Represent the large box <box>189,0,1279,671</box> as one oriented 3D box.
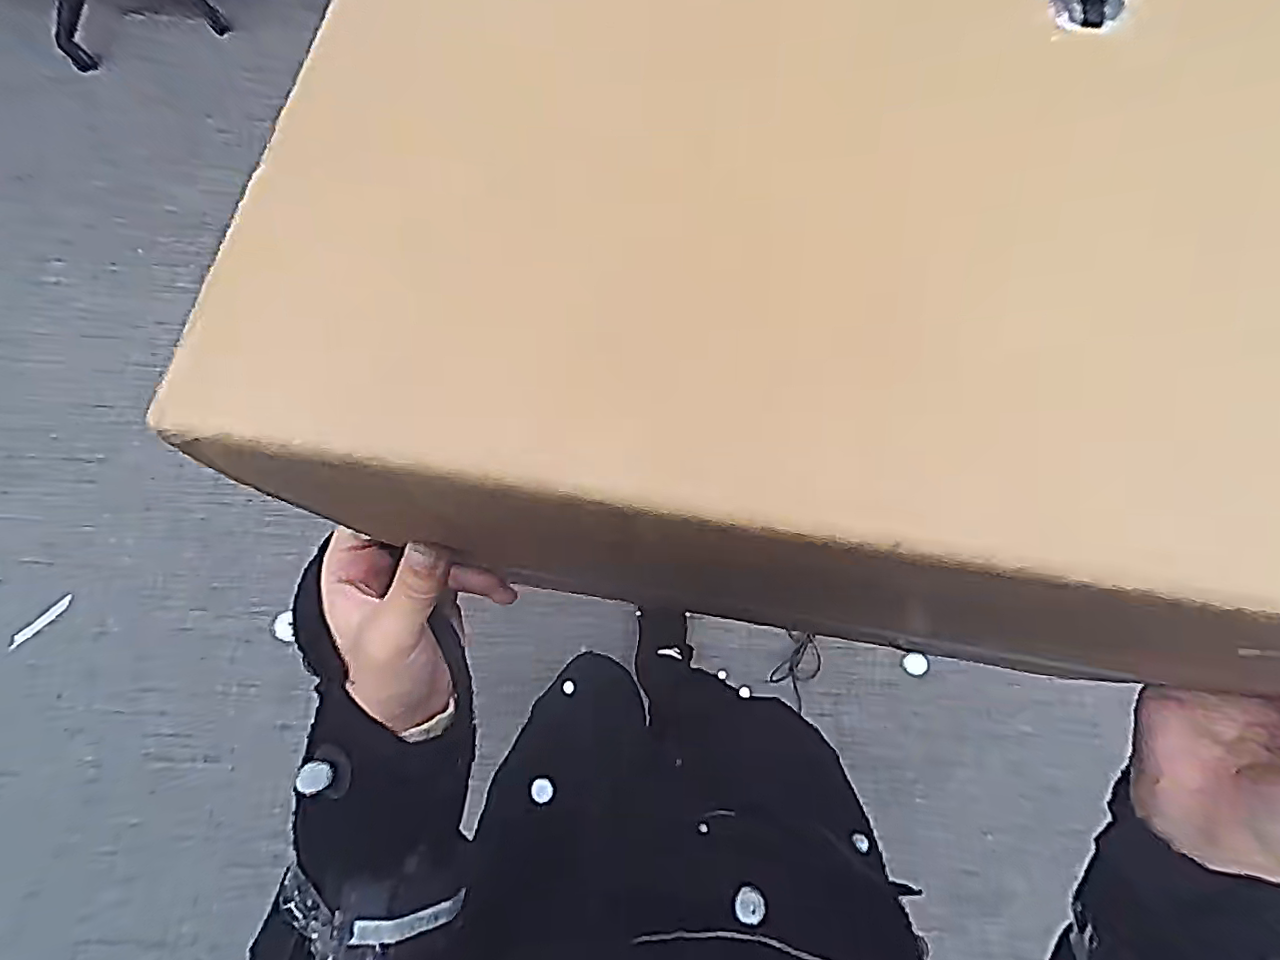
[{"bbox_3d":[0.110,-0.091,0.297,0.408,0.320,0.320,9,75,0],"label":"large box"}]
